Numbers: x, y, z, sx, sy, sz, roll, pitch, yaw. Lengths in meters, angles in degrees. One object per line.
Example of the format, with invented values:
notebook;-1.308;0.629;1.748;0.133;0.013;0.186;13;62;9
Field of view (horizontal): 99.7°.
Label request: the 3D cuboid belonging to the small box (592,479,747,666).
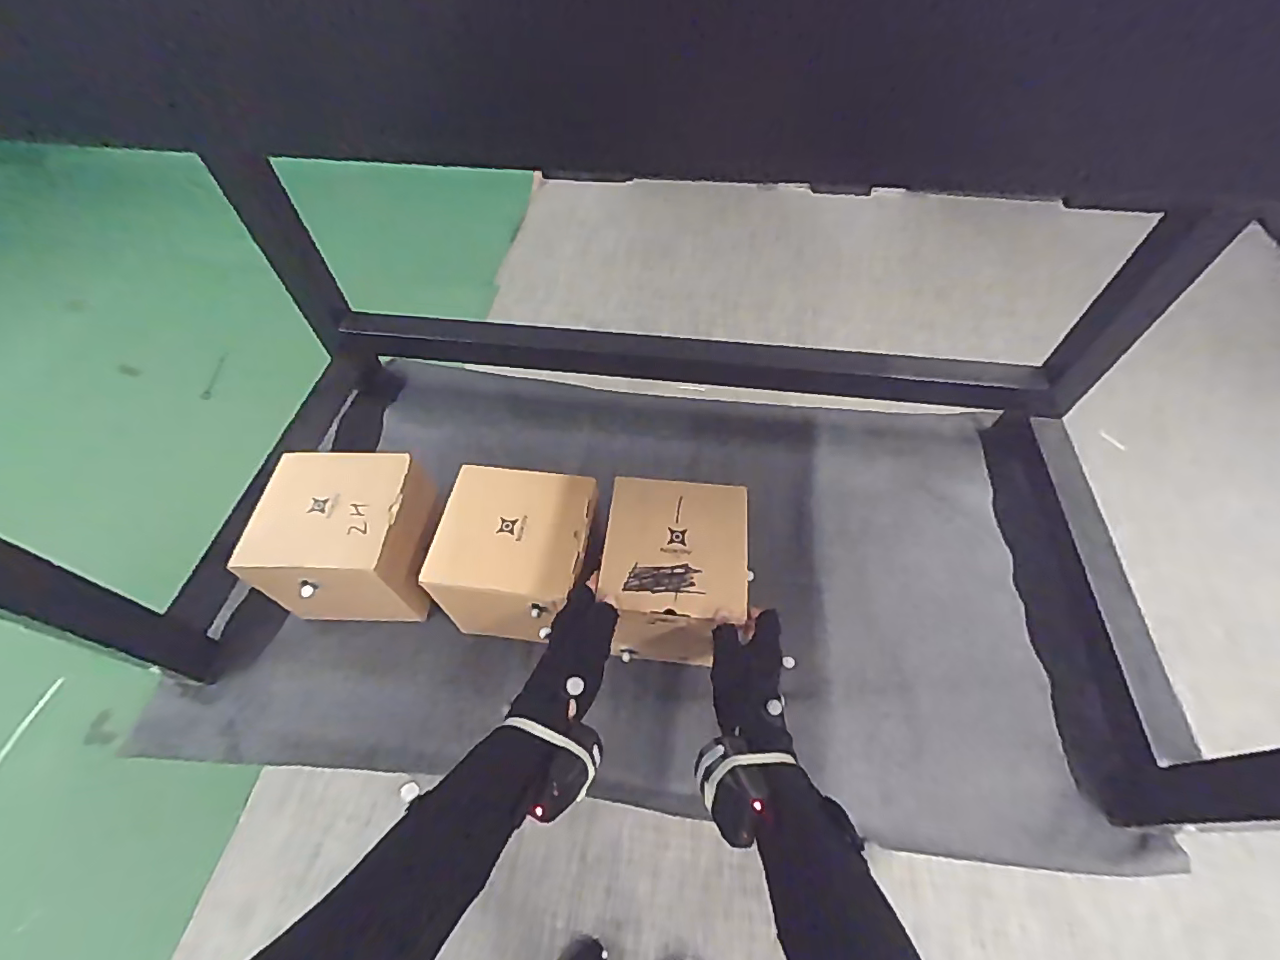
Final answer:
small box;0.042;0.121;0.684;0.168;0.176;0.179;5;55;5
